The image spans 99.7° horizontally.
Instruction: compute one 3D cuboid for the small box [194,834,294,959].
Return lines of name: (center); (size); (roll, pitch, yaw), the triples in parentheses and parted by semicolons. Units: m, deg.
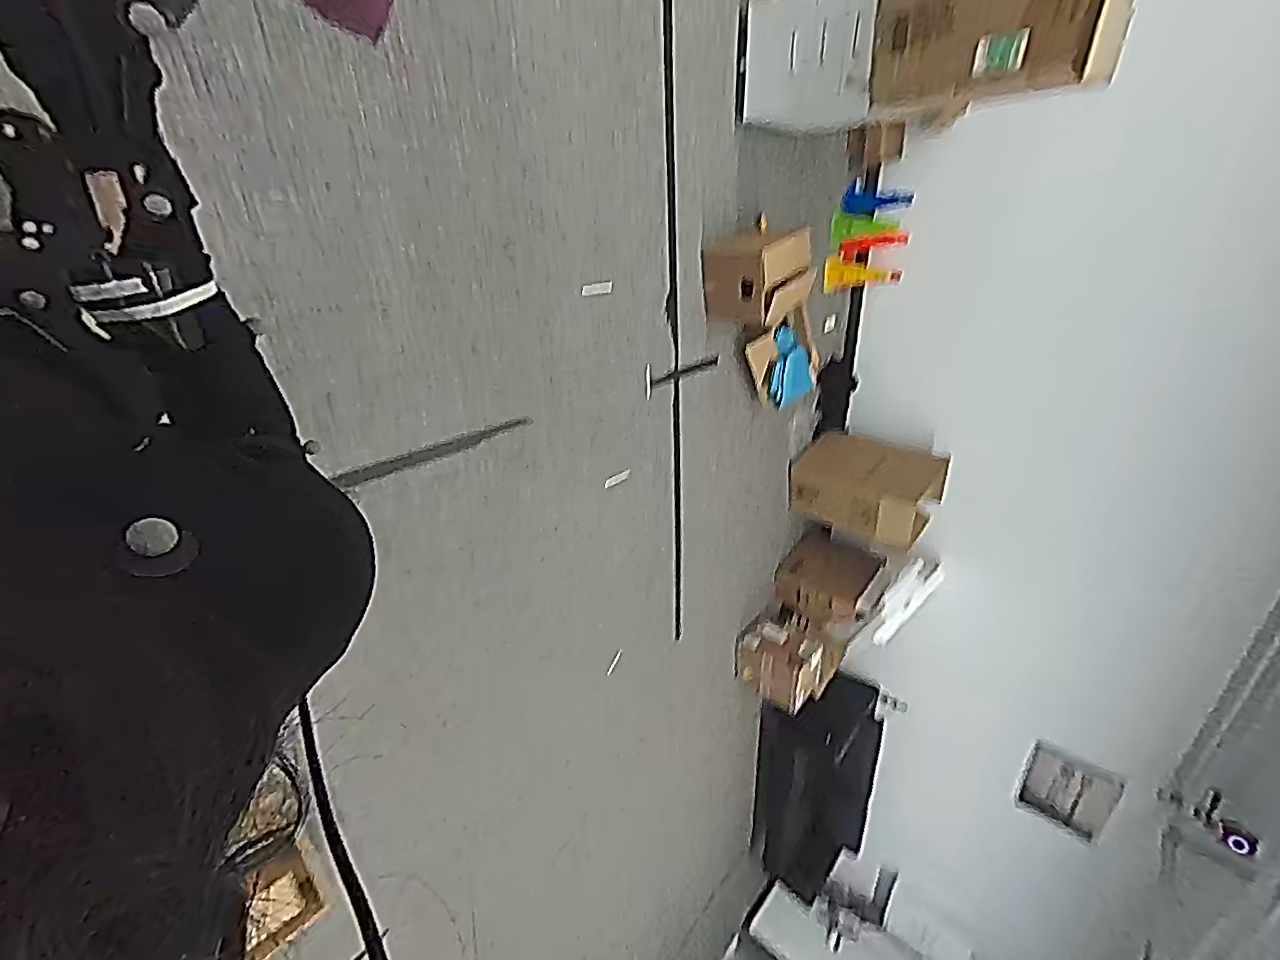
small box: (-1.094, 1.138, 1.488); (0.179, 0.176, 0.168); (-22, 123, -44)
